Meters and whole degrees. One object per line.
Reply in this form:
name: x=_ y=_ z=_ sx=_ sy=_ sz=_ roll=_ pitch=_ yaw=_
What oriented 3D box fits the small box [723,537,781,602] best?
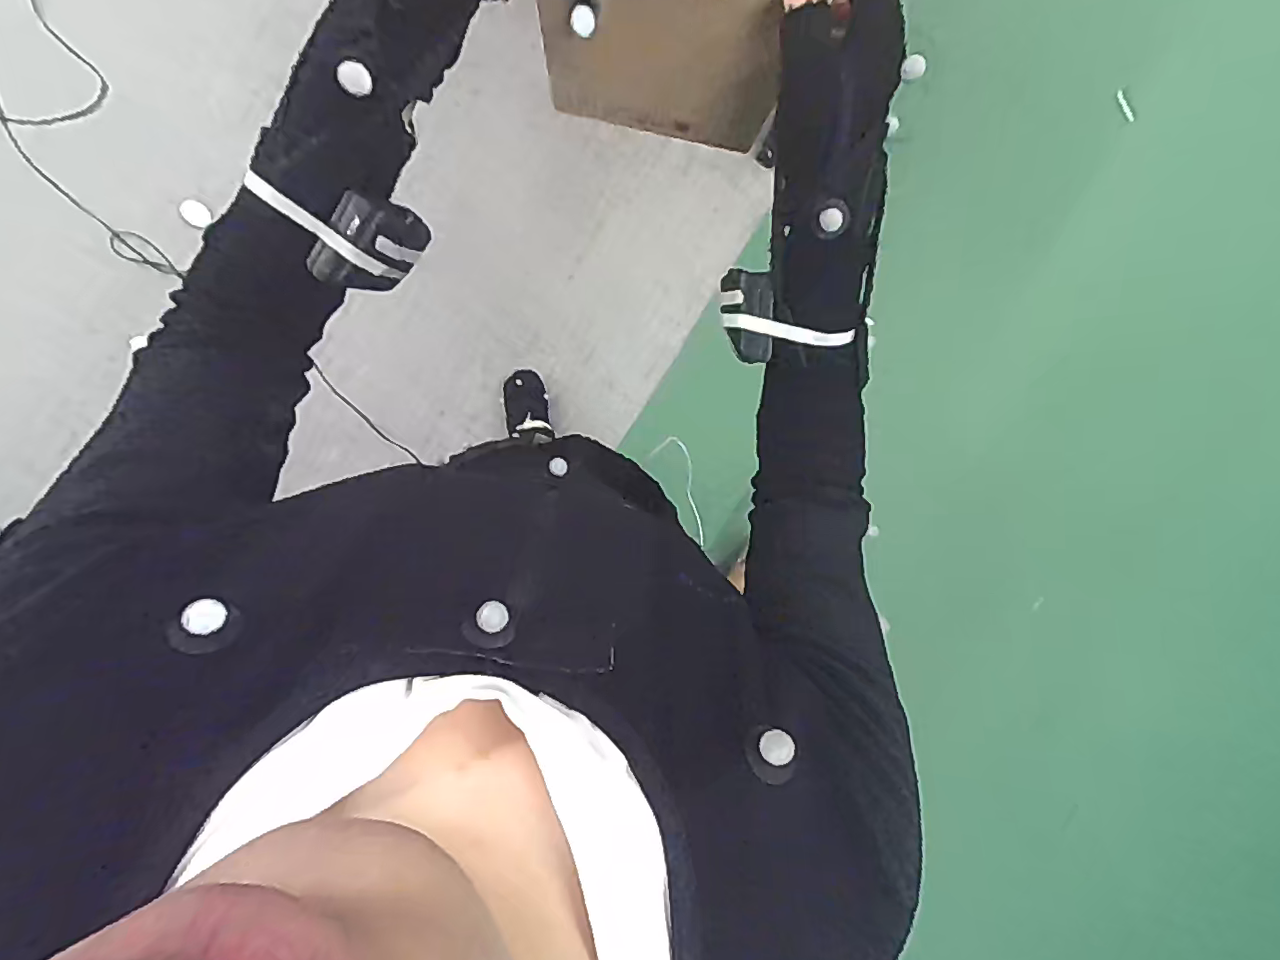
small box: x=0.343 y=0.266 z=1.425 sx=0.179 sy=0.176 sz=0.168 roll=31 pitch=91 yaw=-4
